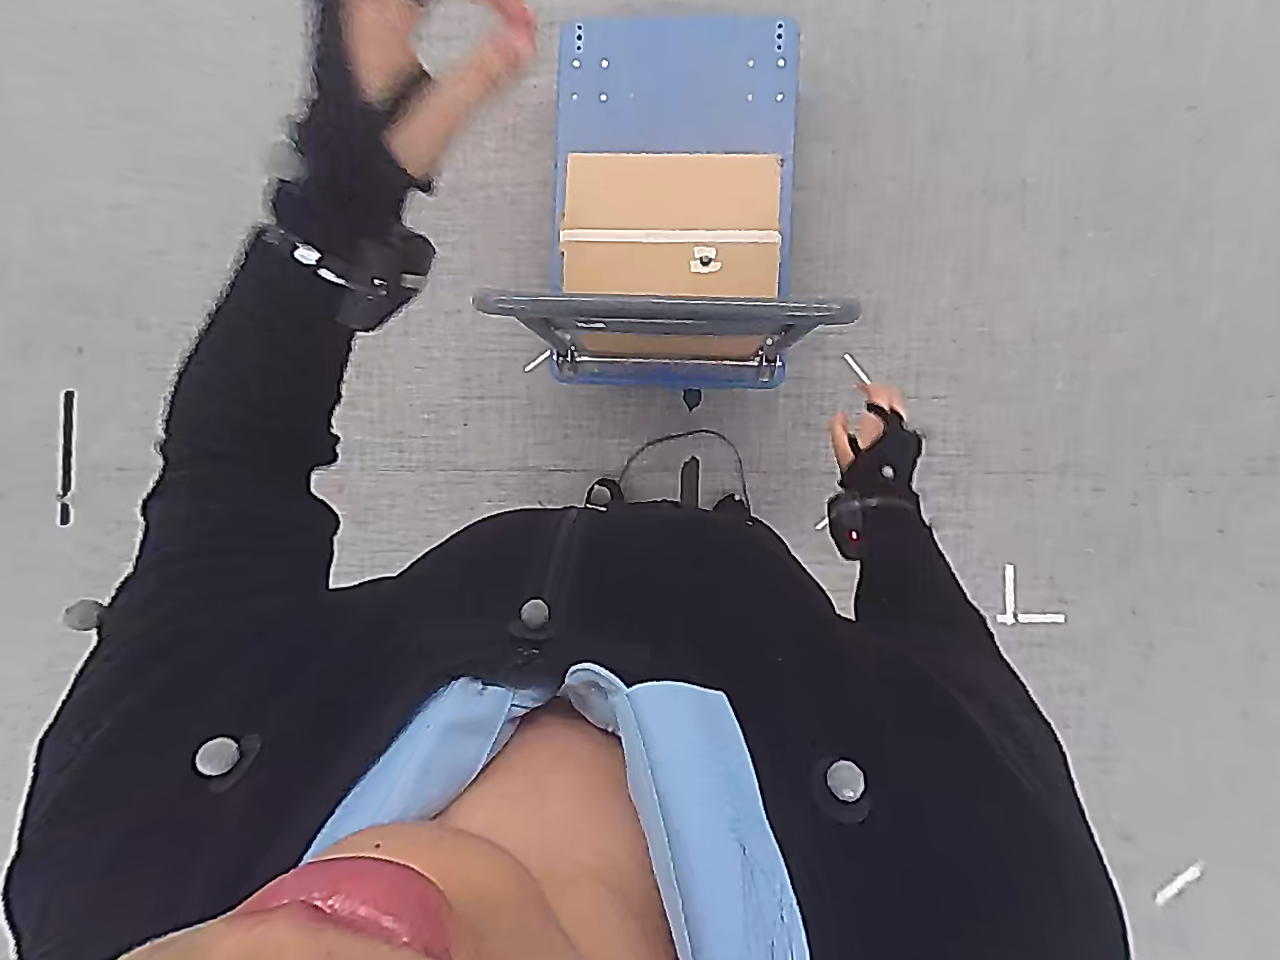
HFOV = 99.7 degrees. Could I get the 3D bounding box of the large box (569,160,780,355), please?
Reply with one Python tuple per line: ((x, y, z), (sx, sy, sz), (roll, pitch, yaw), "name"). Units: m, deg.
((0.067, -0.459, 1.181), (0.408, 0.320, 0.320), (2, 91, 2), "large box")
